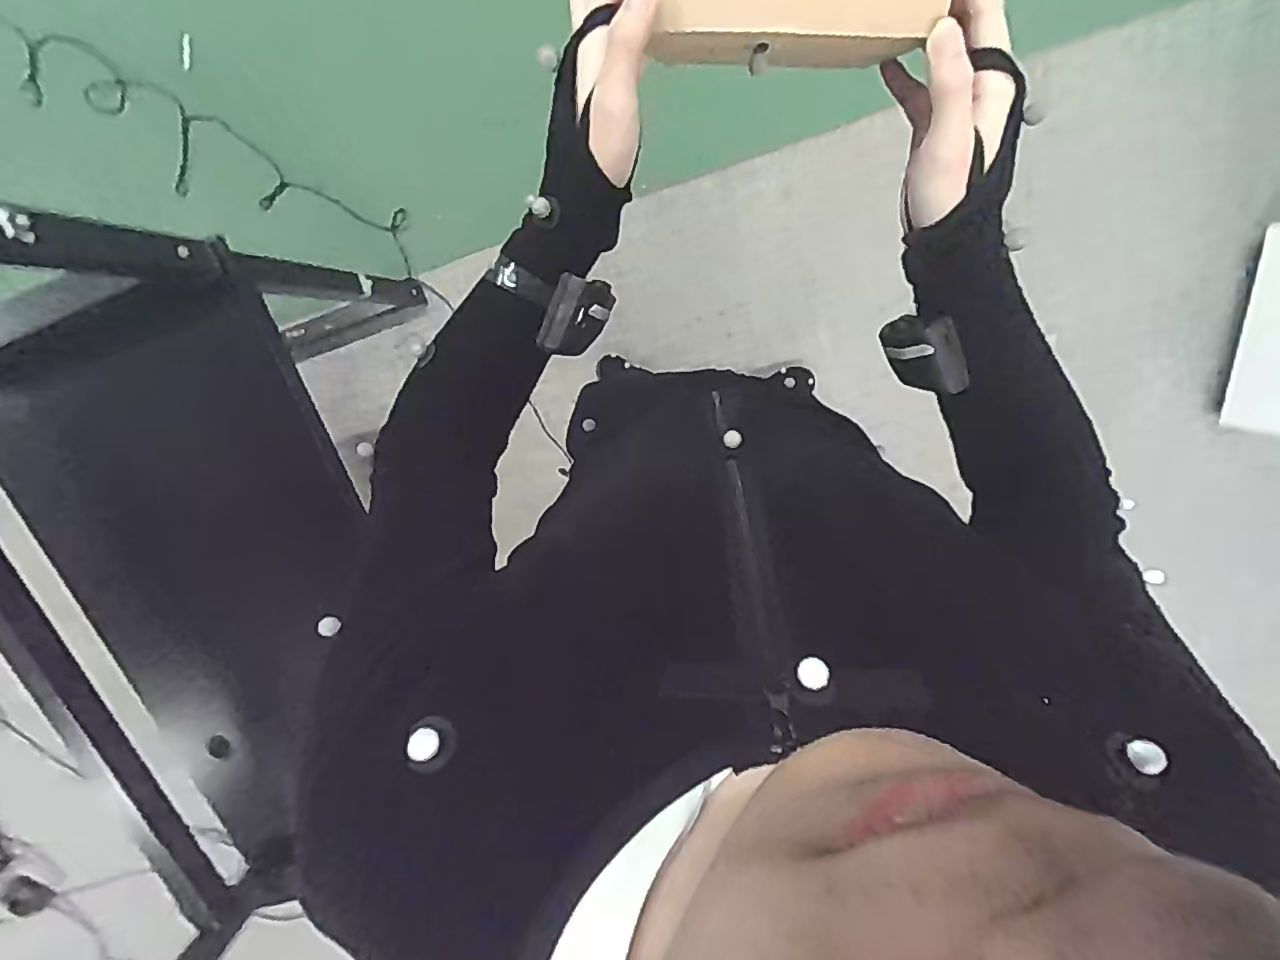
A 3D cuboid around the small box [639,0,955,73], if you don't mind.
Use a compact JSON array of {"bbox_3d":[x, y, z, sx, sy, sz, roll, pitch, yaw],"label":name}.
[{"bbox_3d":[0.097,-0.363,0.334,0.179,0.176,0.168,5,123,3],"label":"small box"}]
